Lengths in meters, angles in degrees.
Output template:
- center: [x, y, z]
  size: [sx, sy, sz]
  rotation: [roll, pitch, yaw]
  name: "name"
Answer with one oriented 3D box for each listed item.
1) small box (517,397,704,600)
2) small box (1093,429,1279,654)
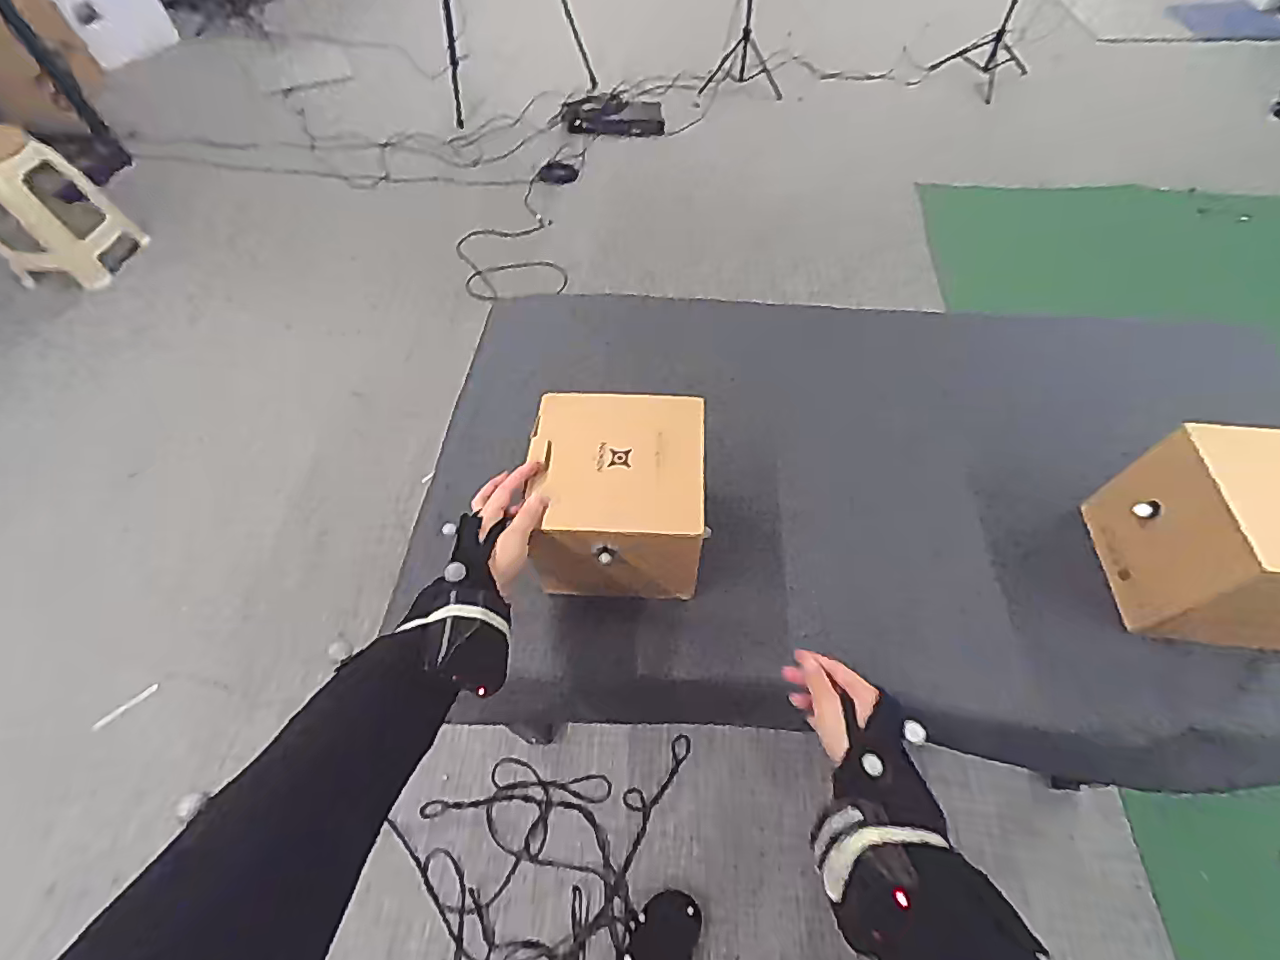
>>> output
- center: [-0.021, 0.026, 0.602]
  size: [0.179, 0.176, 0.168]
  rotation: [2, 58, 2]
  name: "small box"
- center: [0.618, 0.068, 0.554]
  size: [0.179, 0.176, 0.168]
  rotation: [5, 56, 5]
  name: "small box"
